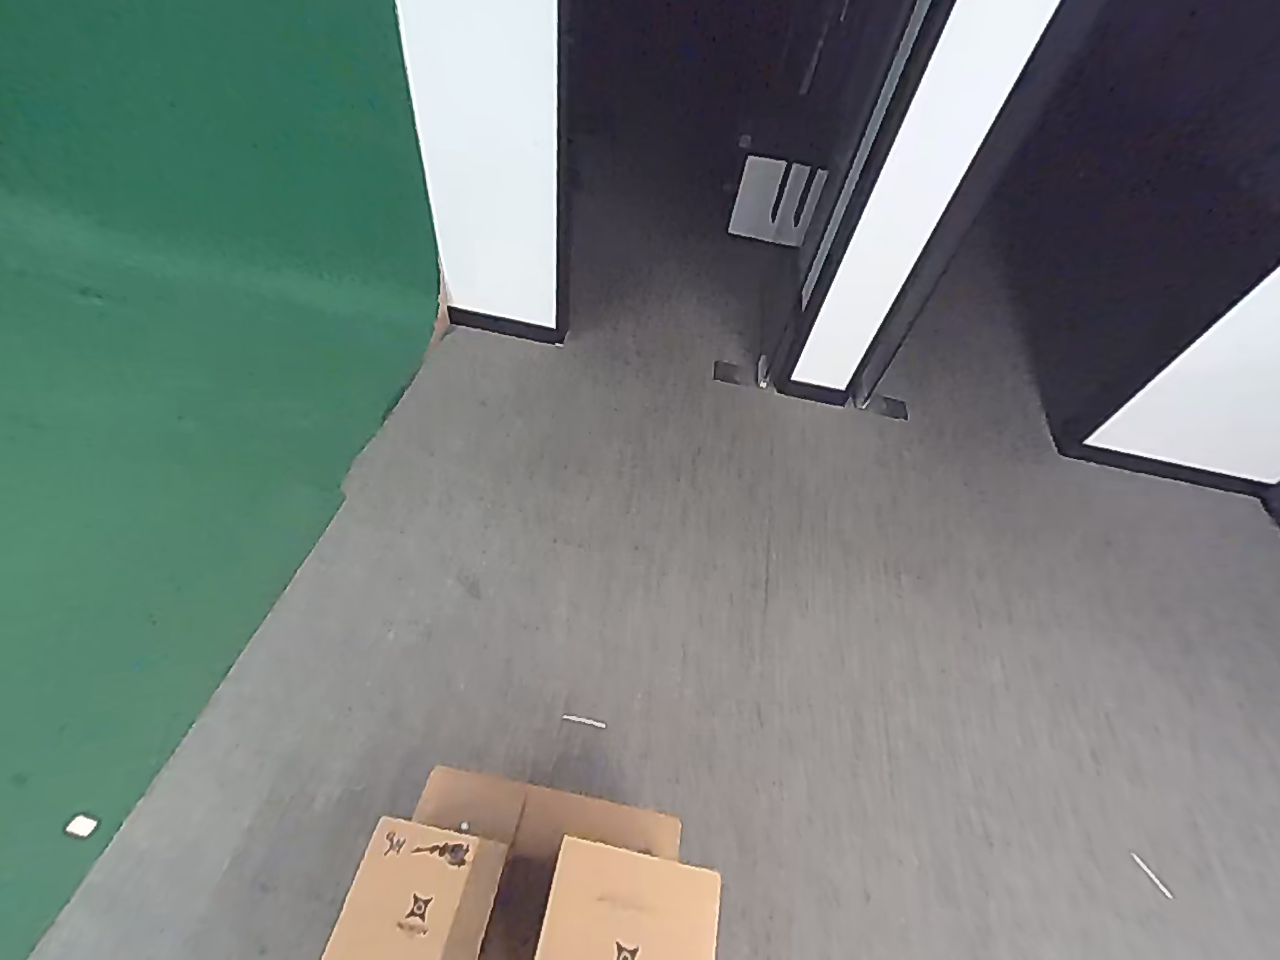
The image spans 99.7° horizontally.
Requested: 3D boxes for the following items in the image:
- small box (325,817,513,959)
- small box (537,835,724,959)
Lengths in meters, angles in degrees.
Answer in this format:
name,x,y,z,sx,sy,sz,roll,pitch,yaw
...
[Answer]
name,x,y,z,sx,sy,sz,roll,pitch,yaw
small box,-0.264,0.550,0.681,0.168,0.176,0.179,13,52,0
small box,-0.019,0.493,0.553,0.168,0.176,0.179,13,51,2
